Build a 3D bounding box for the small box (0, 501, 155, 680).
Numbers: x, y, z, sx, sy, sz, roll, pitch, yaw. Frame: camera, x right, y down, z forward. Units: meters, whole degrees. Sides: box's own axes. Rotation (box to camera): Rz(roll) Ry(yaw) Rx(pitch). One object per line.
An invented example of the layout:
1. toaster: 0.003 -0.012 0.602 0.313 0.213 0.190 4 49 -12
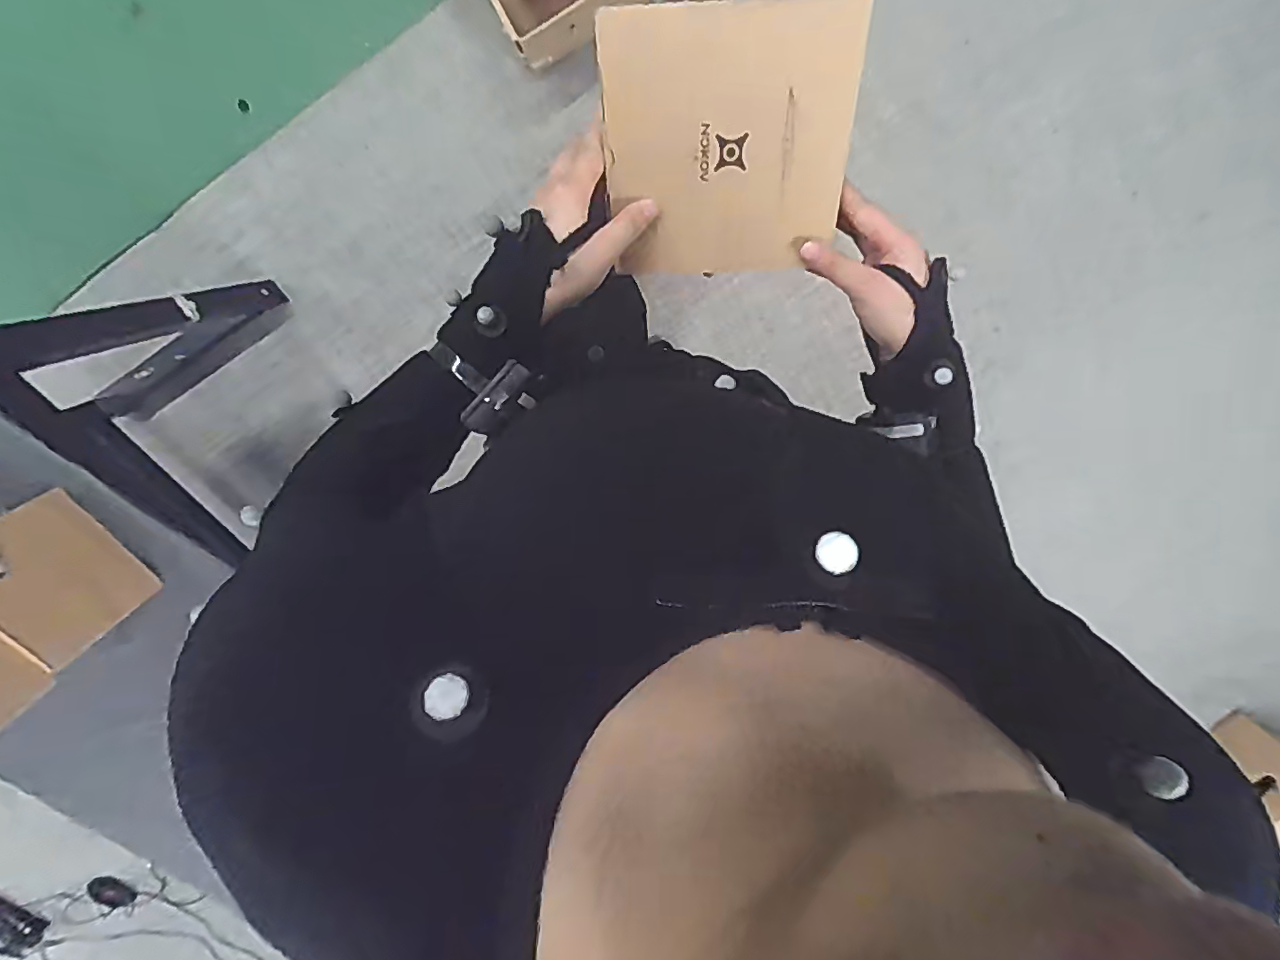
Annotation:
1. small box: -0.773 0.146 0.658 0.168 0.176 0.179 -23 116 10
